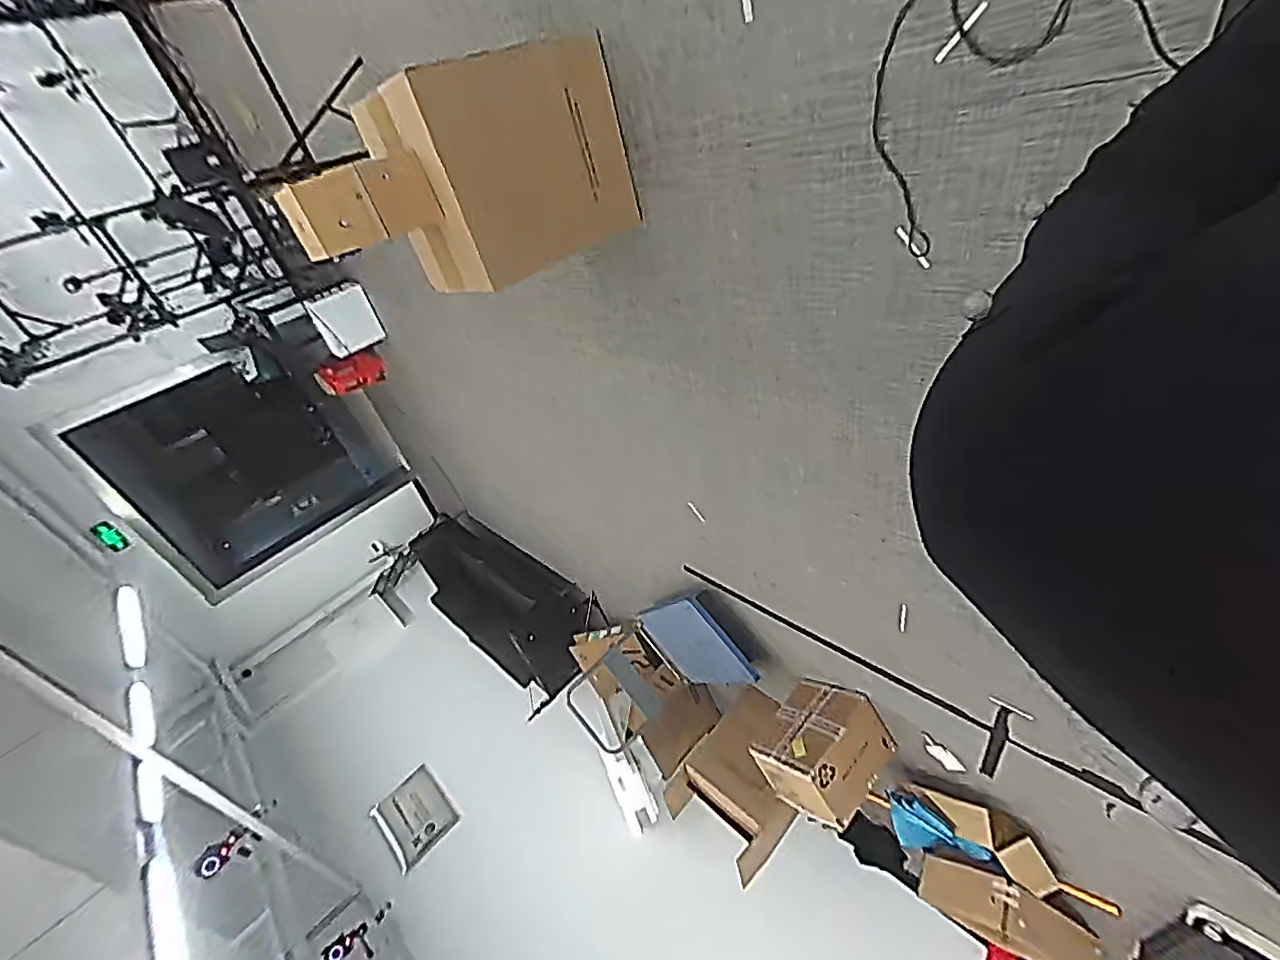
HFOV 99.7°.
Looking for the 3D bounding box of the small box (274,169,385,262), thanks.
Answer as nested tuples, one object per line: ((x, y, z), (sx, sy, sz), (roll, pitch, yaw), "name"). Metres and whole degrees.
((-0.782, -0.669, 1.374), (0.179, 0.176, 0.168), (20, 139, 45), "small box")
